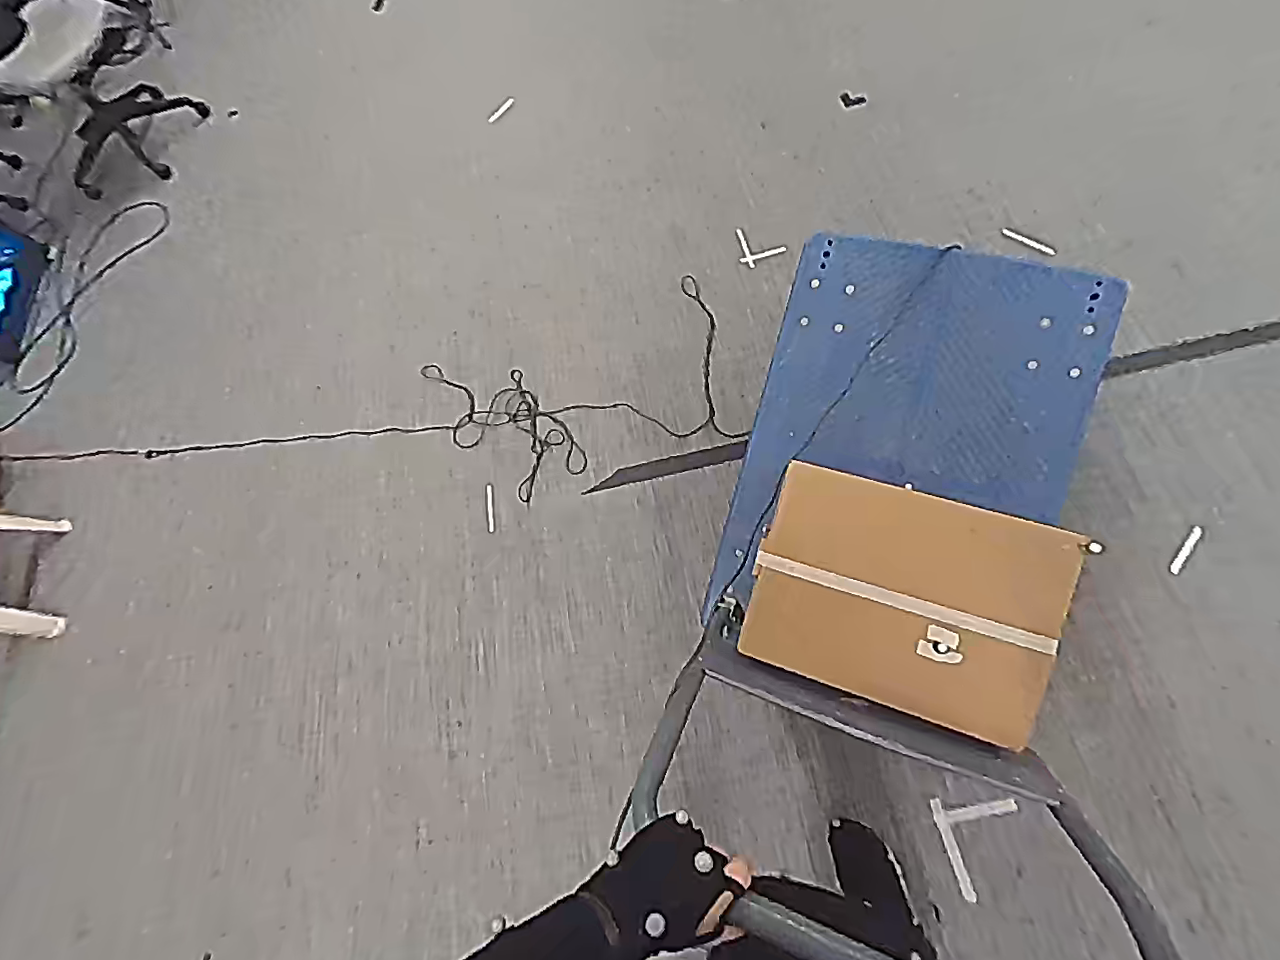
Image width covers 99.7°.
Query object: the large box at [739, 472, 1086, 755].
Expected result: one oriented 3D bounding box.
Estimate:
[{"bbox_3d":[0.410,0.183,0.922,0.408,0.320,0.320,16,95,14],"label":"large box"}]
